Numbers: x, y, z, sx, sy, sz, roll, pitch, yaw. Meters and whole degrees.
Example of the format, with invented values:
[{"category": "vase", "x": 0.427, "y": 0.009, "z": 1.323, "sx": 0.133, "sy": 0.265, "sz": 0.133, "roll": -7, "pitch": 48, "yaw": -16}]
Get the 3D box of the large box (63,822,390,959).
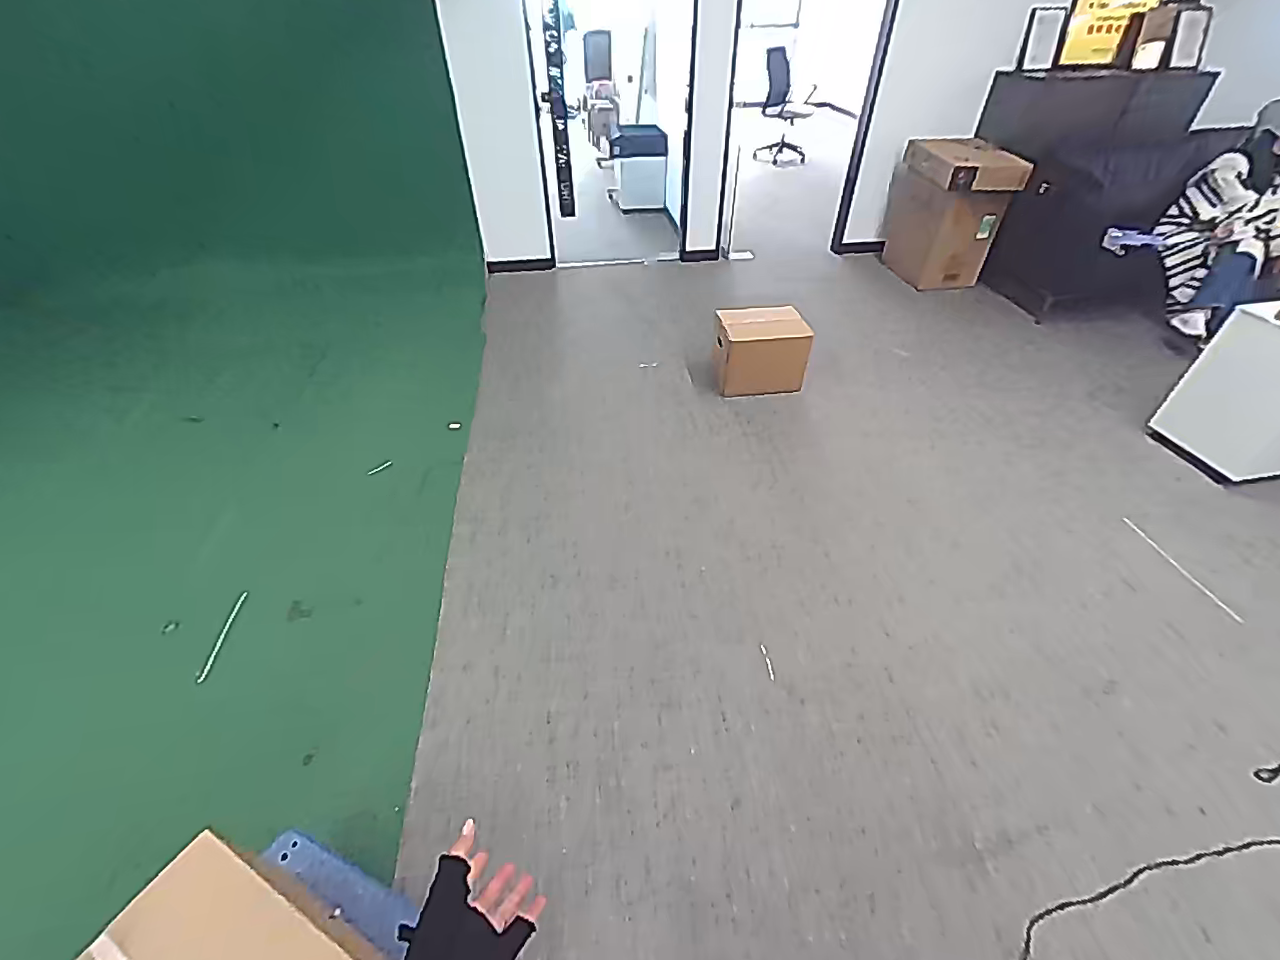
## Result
[{"category": "large box", "x": -0.603, "y": 0.812, "z": 0.807, "sx": 0.408, "sy": 0.320, "sz": 0.320, "roll": 21, "pitch": 46, "yaw": 20}]
